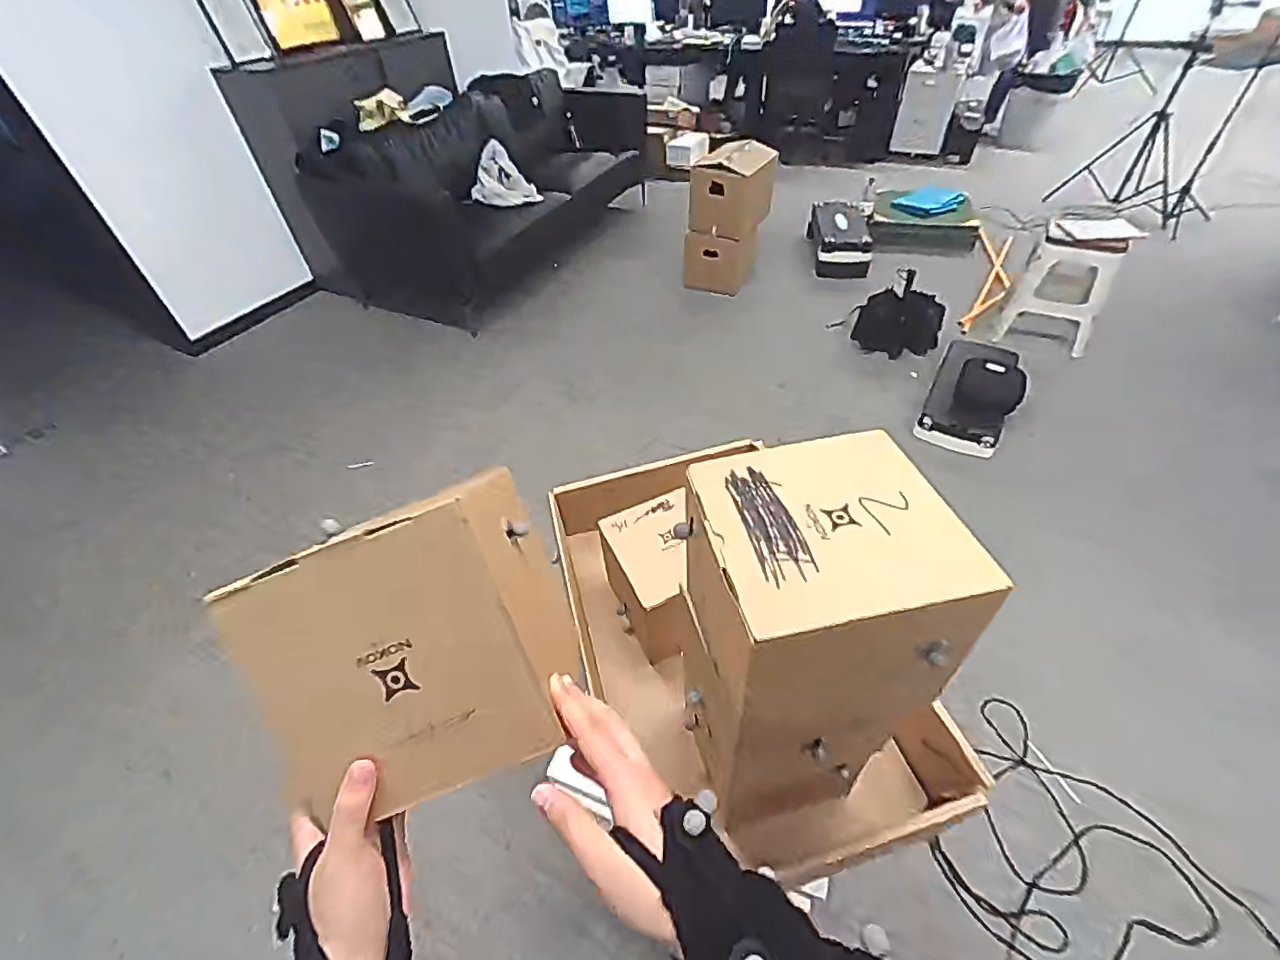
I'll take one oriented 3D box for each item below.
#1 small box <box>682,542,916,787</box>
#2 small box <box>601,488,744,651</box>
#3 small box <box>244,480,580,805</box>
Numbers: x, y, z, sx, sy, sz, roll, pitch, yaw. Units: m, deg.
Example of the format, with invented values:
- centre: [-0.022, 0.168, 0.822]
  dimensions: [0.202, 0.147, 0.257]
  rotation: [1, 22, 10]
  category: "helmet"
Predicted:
- centre: [0.150, 0.197, 0.578]
  dimensions: [0.179, 0.176, 0.168]
  rotation: [-13, 44, -6]
  category: "small box"
- centre: [0.051, 0.149, 0.868]
  dimensions: [0.168, 0.176, 0.179]
  rotation: [-20, 49, -15]
  category: "small box"
- centre: [-0.156, 0.106, 0.437]
  dimensions: [0.168, 0.179, 0.176]
  rotation: [-20, 7, 0]
  category: "small box"
